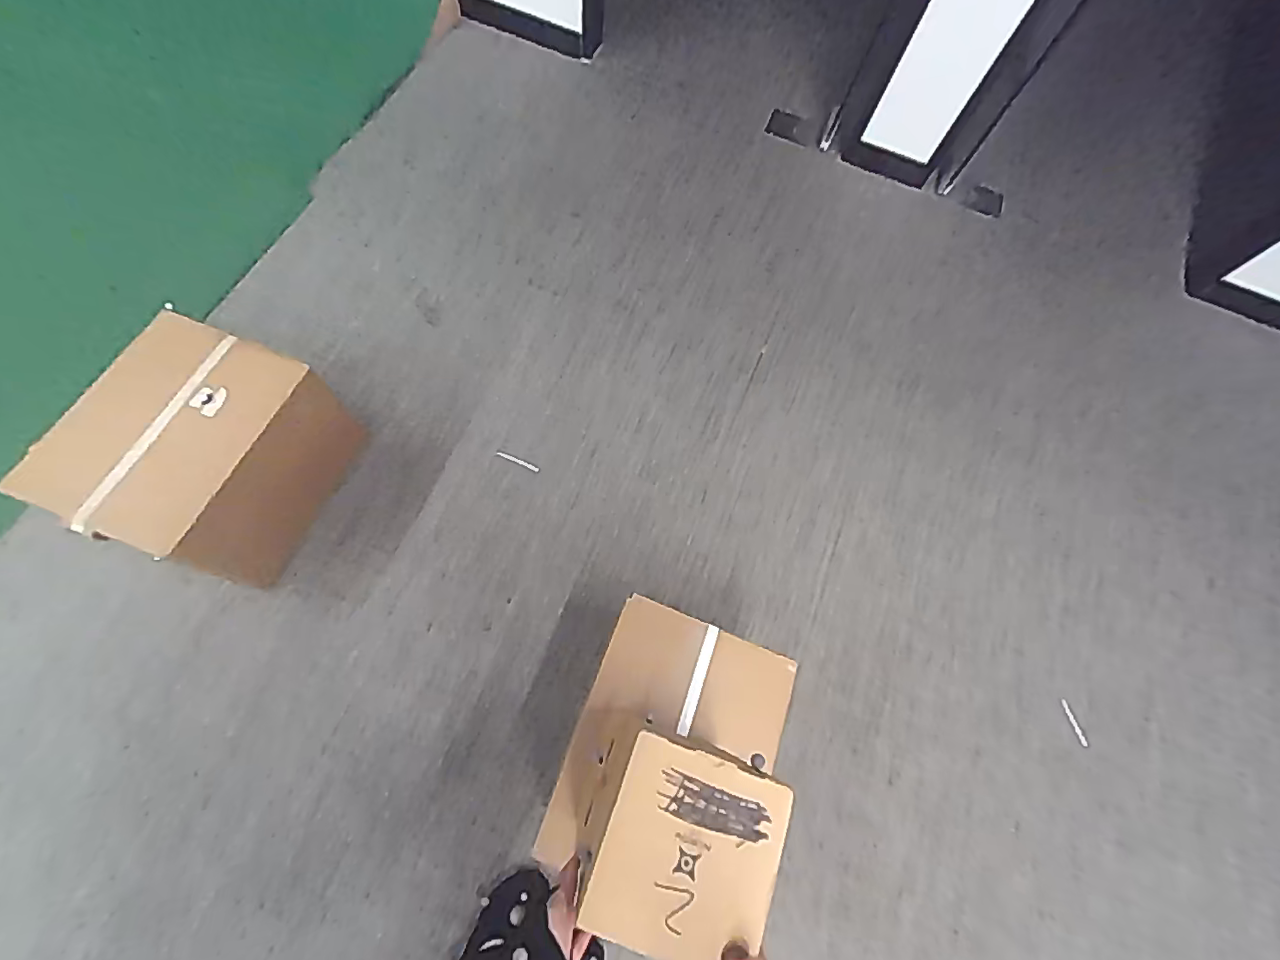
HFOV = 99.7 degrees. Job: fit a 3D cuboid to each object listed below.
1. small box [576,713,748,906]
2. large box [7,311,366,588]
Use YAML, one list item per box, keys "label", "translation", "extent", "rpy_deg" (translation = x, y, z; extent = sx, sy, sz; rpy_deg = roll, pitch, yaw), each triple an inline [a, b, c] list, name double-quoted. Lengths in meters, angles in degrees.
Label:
- label: "small box"
  translation: [0.025, 0.431, 0.742]
  extent: [0.179, 0.176, 0.168]
  rpy_deg: [20, 69, 4]
- label: "large box"
  translation: [-0.842, -0.045, 1.083]
  extent: [0.320, 0.320, 0.408]
  rpy_deg: [22, 67, 2]
